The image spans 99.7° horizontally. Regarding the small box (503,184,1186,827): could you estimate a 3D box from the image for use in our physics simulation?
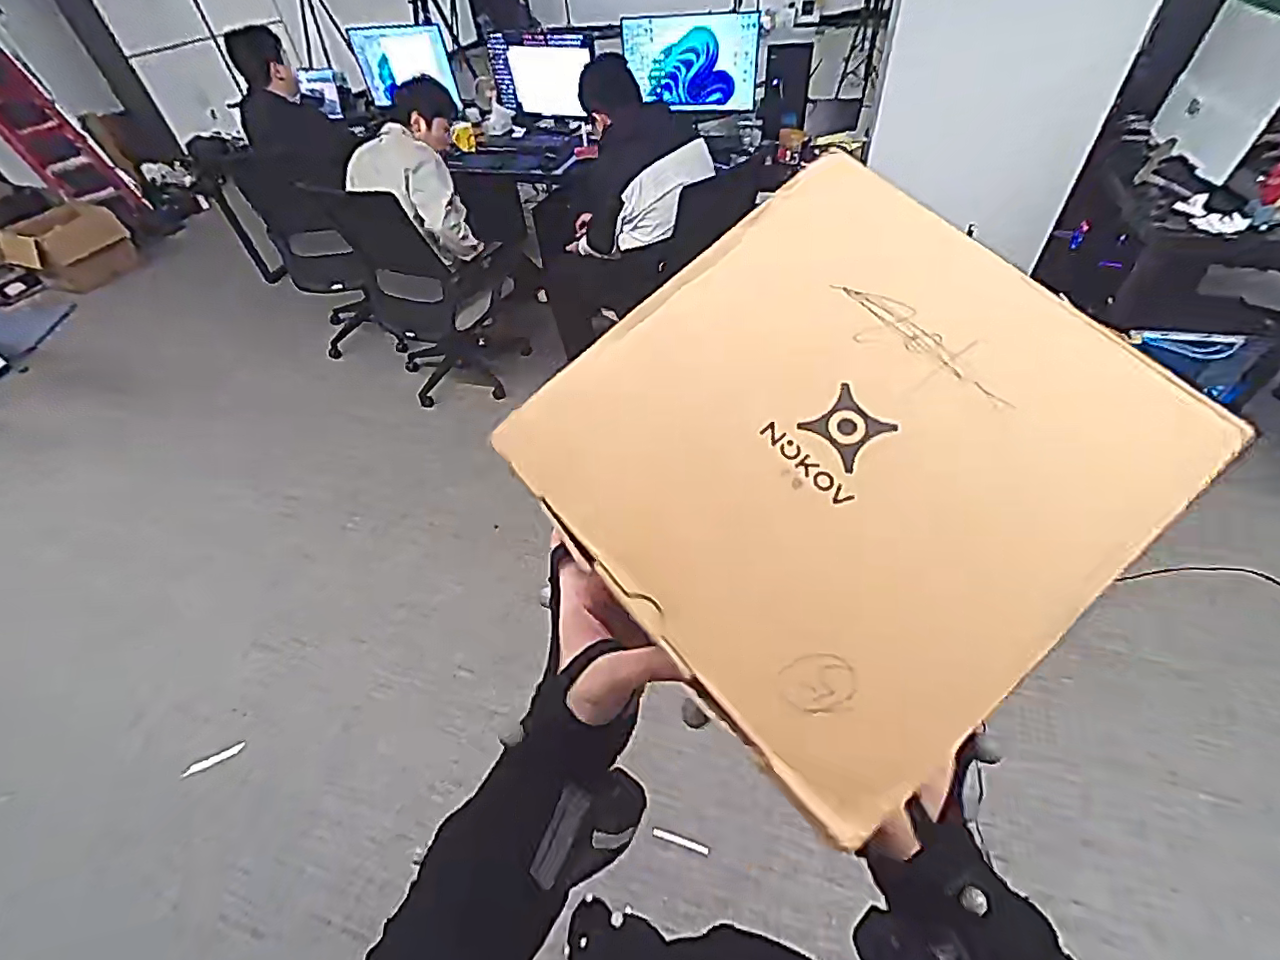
[{"bbox_3d":[0.072,0.014,0.264,0.179,0.176,0.168,-43,74,-8],"label":"small box"}]
